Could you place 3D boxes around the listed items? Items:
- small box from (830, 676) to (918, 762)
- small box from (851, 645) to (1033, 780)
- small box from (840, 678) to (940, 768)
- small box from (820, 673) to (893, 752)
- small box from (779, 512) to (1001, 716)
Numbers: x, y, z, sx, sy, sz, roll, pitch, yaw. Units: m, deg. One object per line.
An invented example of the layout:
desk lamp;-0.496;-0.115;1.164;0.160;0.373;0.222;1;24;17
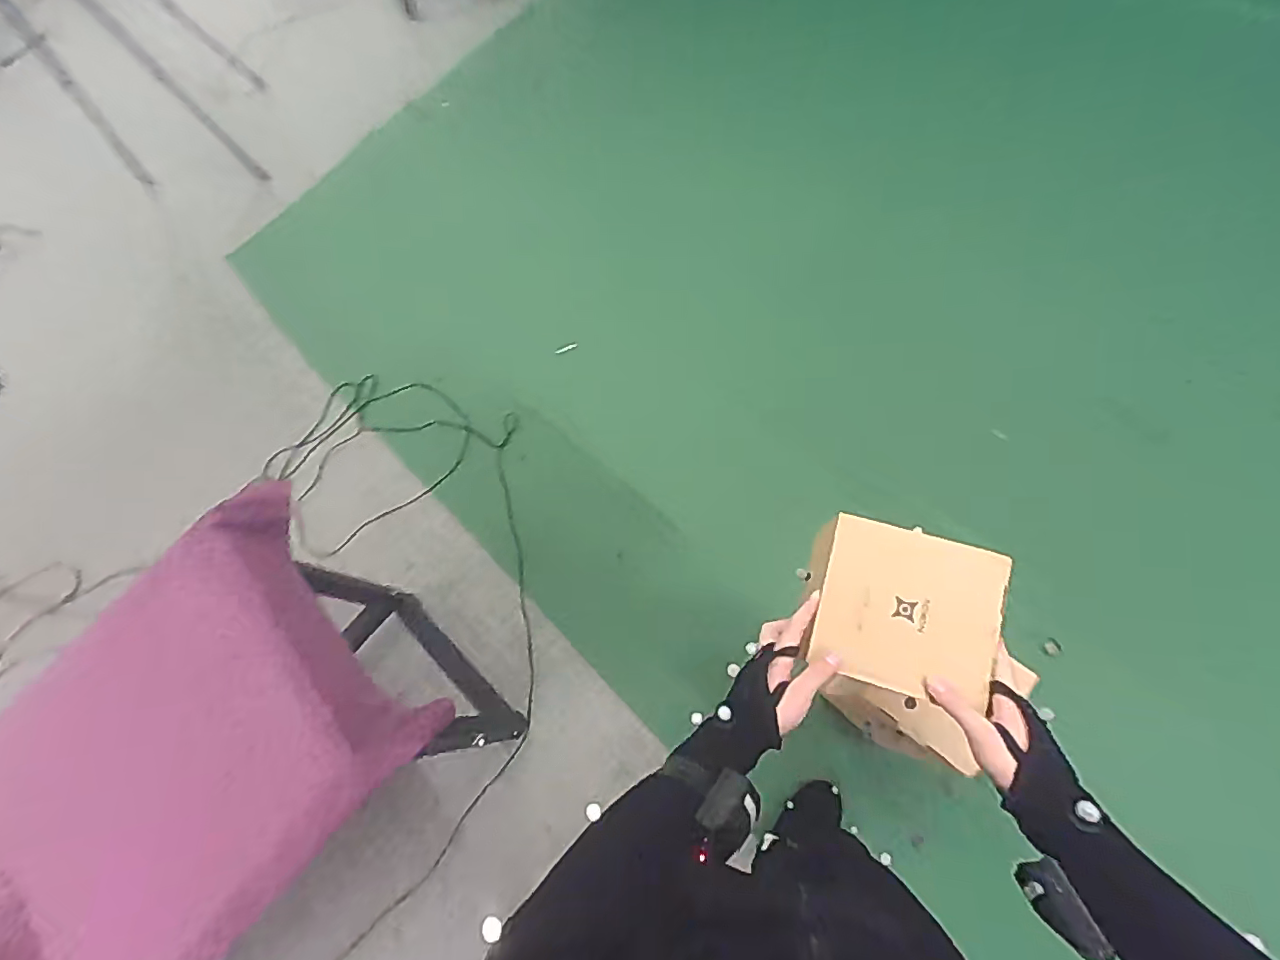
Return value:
small box;0.523;0.449;1.129;0.179;0.176;0.168;37;81;24
small box;0.448;0.322;0.836;0.168;0.176;0.179;38;82;24
small box;0.487;0.387;0.982;0.179;0.176;0.168;36;81;22
small box;0.551;0.506;1.279;0.179;0.176;0.168;41;82;24
small box;0.273;0.149;0.627;0.179;0.176;0.168;15;78;12
